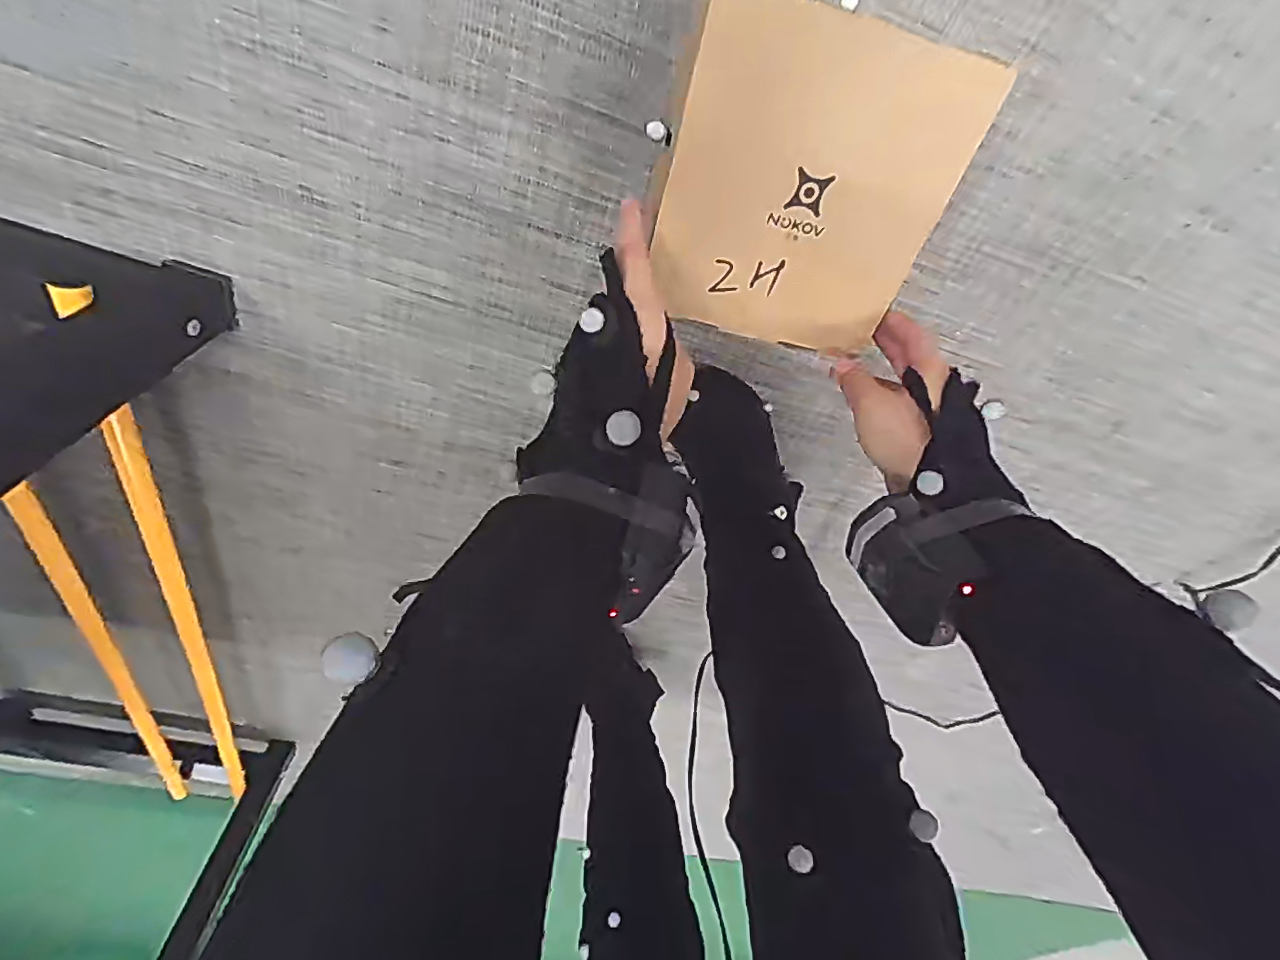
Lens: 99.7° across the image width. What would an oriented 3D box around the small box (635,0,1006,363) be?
[{"bbox_3d":[0.096,-0.215,0.384,0.168,0.176,0.179,12,131,-7],"label":"small box"}]
